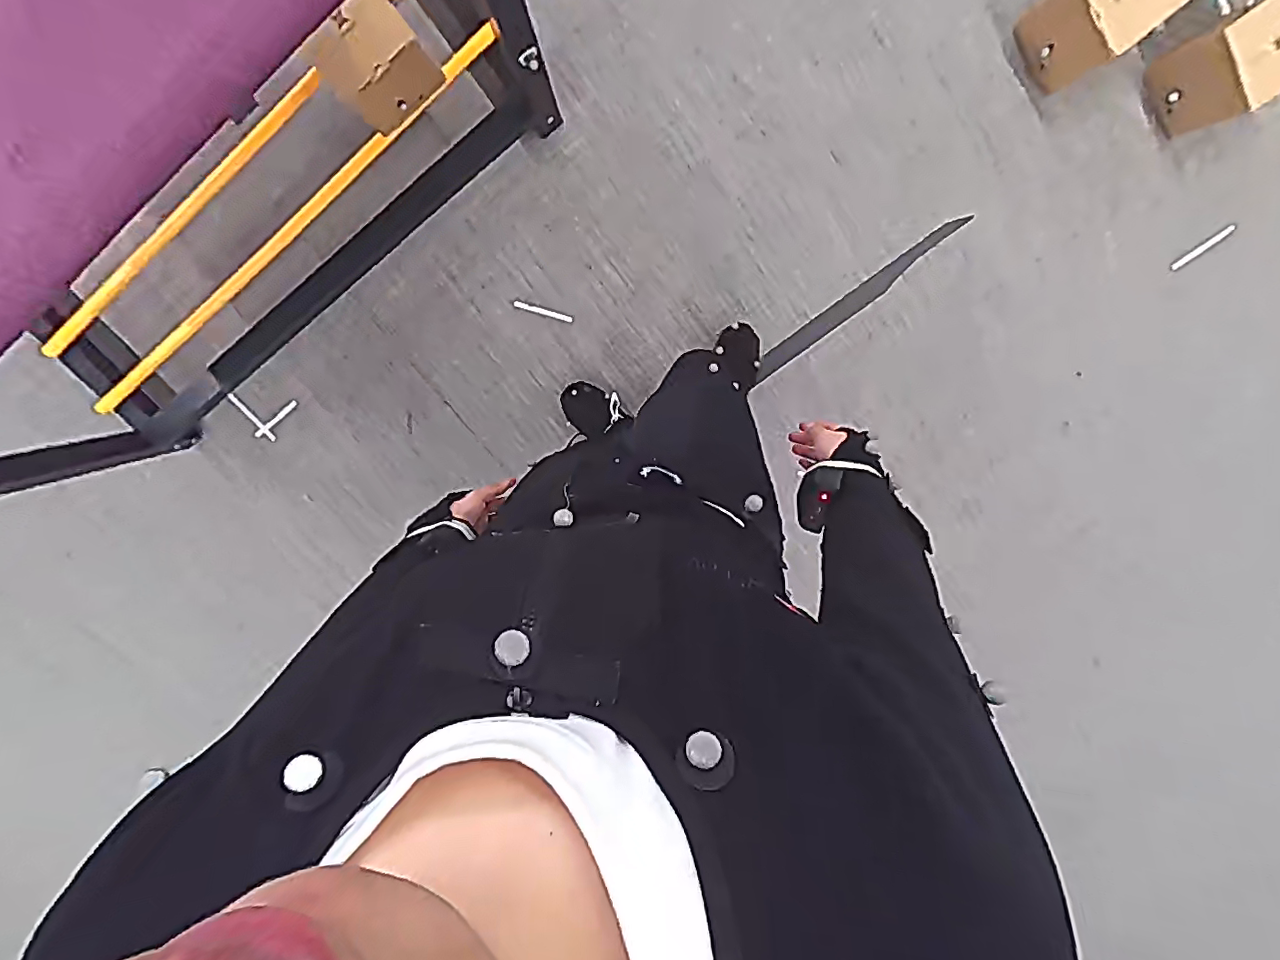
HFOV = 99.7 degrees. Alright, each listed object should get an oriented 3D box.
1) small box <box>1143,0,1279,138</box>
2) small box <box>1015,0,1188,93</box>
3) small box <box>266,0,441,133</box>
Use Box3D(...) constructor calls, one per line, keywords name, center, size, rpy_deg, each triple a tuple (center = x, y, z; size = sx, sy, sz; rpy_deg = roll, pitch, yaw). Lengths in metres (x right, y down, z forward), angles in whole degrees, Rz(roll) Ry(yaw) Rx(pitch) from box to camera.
Box3D(name="small box", center=(1.197, -0.844, 1.095), size=(0.179, 0.176, 0.168), rpy_deg=(-34, 103, 8))
Box3D(name="small box", center=(0.900, -0.923, 1.064), size=(0.179, 0.176, 0.168), rpy_deg=(-38, 102, 8))
Box3D(name="small box", center=(-0.488, -0.760, 0.949), size=(0.168, 0.176, 0.179), rpy_deg=(-37, 104, 9))
